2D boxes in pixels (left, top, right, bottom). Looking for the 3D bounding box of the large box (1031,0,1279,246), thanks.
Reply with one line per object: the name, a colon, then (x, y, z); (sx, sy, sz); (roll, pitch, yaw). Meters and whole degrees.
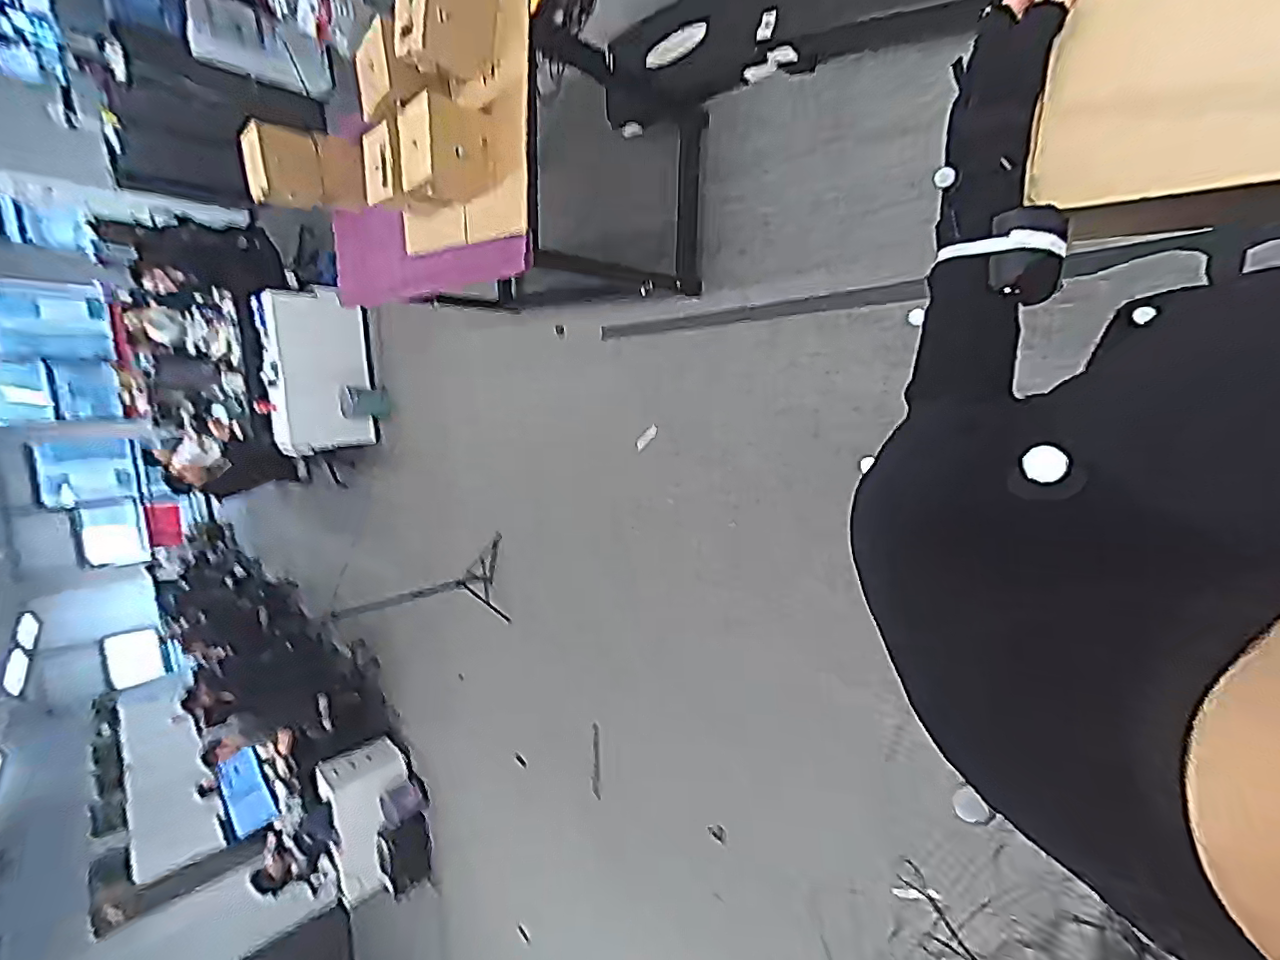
large box: (0.560, -0.369, 0.384); (0.408, 0.320, 0.320); (12, 112, 41)
